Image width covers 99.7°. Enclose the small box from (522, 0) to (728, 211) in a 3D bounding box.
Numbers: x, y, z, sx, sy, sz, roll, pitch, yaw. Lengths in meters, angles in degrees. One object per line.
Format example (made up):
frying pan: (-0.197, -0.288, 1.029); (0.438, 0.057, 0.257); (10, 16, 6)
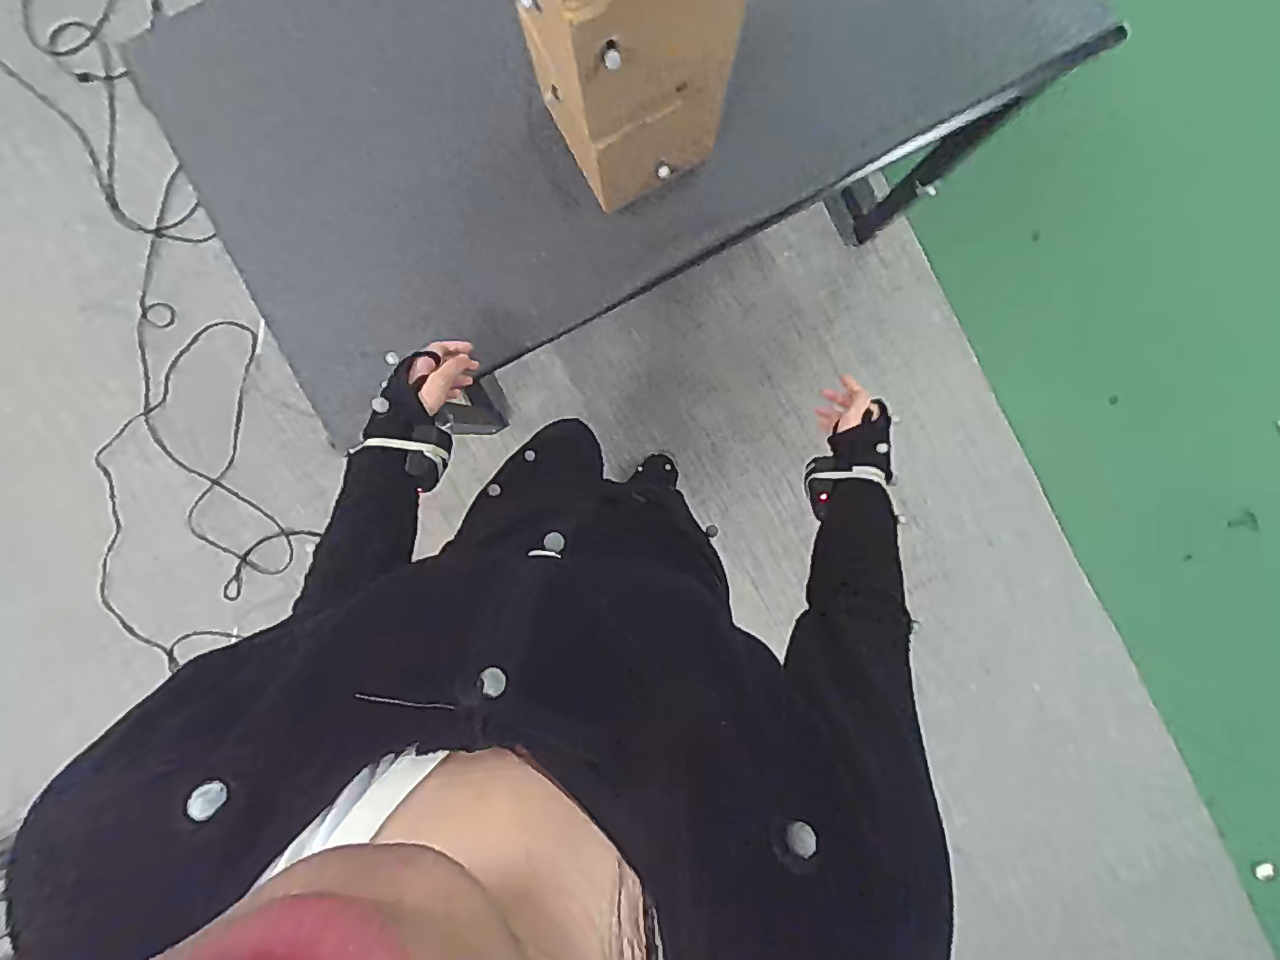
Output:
small box: (-0.016, -0.469, 0.653); (0.168, 0.176, 0.179); (-29, 93, 3)
